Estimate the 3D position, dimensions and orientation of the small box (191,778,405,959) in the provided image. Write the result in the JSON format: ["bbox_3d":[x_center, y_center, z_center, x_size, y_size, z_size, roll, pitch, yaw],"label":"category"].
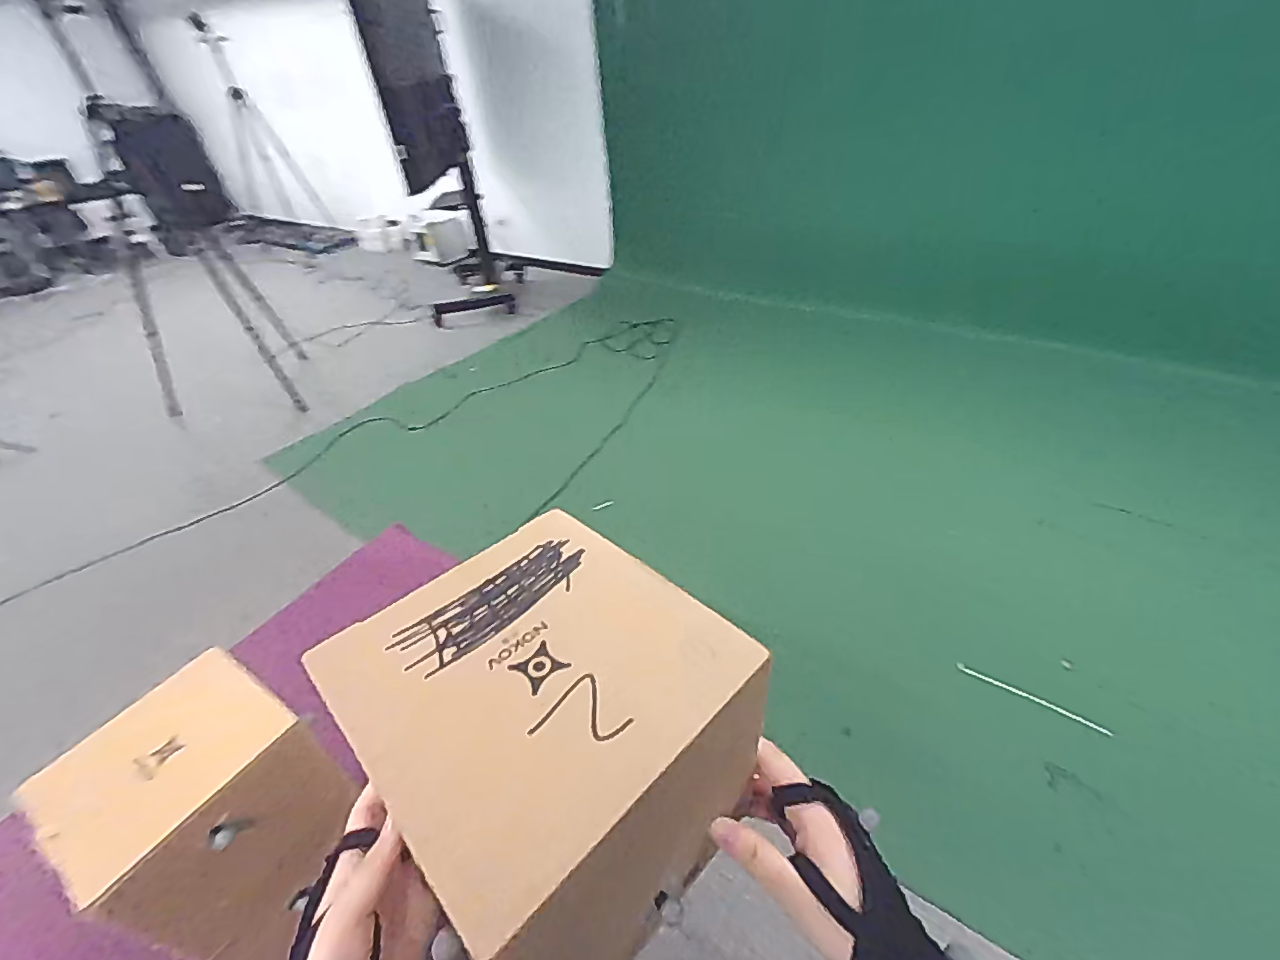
[{"bbox_3d":[-0.420,0.443,0.646,0.168,0.176,0.179,20,44,28],"label":"small box"}]

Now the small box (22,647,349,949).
[{"bbox_3d":[-0.430,0.314,0.547,0.168,0.176,0.179,19,46,27],"label":"small box"}]
